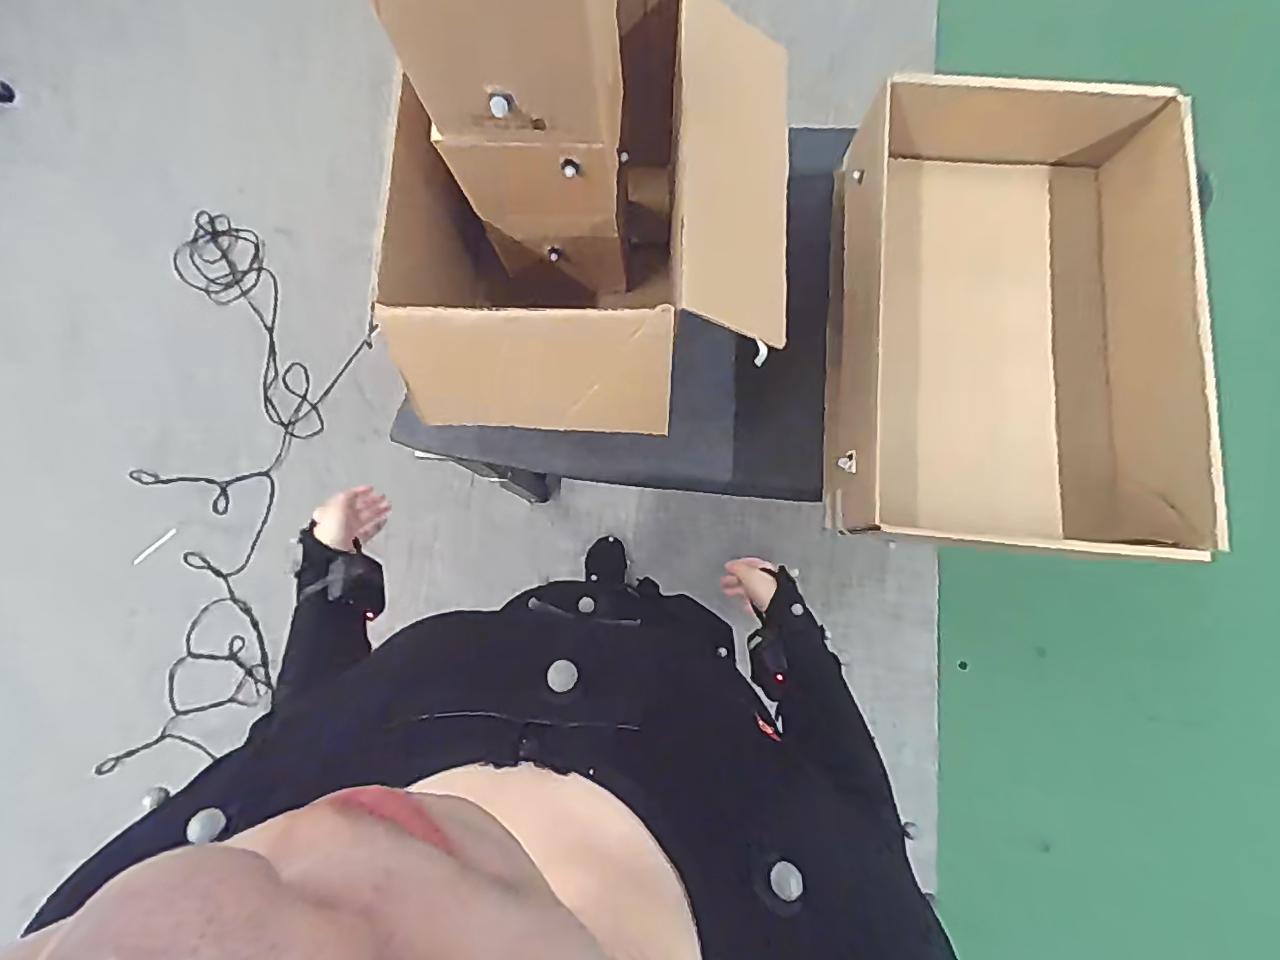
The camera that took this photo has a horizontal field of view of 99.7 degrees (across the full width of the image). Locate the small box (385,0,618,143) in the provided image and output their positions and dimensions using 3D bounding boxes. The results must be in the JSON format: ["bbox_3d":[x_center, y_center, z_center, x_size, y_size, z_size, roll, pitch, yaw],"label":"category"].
[{"bbox_3d":[-0.109,-0.427,0.455,0.168,0.176,0.179,4,85,2],"label":"small box"}]
